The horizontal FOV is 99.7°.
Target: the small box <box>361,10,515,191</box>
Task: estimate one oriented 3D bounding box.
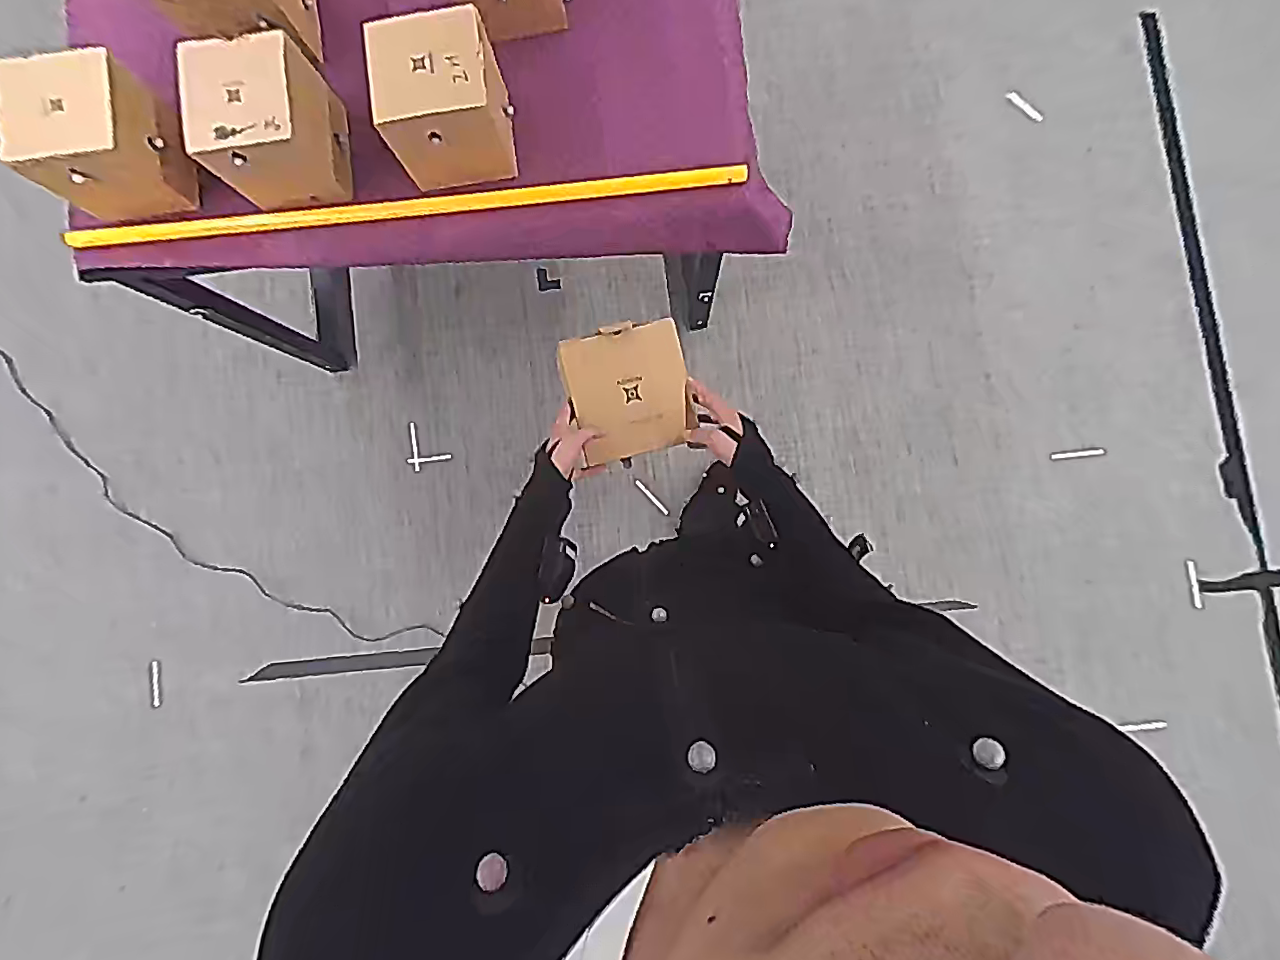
[{"bbox_3d":[-0.318,-0.599,0.877,0.179,0.176,0.168,-8,85,1],"label":"small box"}]

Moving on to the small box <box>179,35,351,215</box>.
[{"bbox_3d":[-0.603,-0.569,0.887,0.168,0.176,0.179,-7,86,2],"label":"small box"}]

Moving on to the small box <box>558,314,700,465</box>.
[{"bbox_3d":[-0.025,-0.125,0.809,0.168,0.176,0.179,-14,92,-6],"label":"small box"}]

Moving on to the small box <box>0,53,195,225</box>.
[{"bbox_3d":[-0.883,-0.552,0.896,0.179,0.176,0.168,-8,86,1],"label":"small box"}]

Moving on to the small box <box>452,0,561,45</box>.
[{"bbox_3d":[-0.232,-0.868,0.890,0.179,0.176,0.168,-9,87,3],"label":"small box"}]
